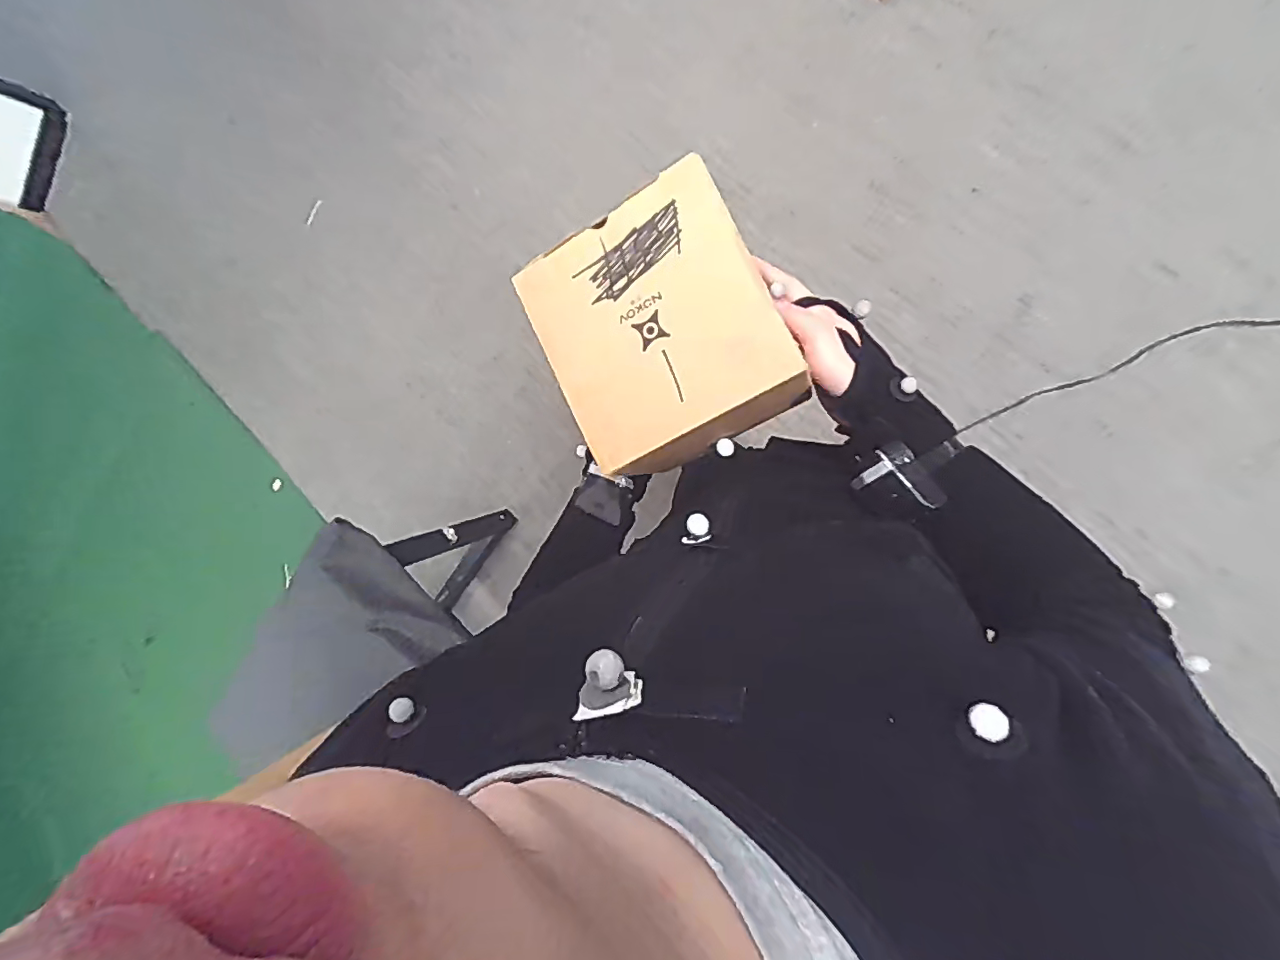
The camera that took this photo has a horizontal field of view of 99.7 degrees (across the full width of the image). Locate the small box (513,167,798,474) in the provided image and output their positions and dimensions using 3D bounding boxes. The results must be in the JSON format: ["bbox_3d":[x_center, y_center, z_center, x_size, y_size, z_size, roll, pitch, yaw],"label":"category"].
[{"bbox_3d":[0.025,-0.116,0.473,0.168,0.176,0.179,-26,85,17],"label":"small box"}]
